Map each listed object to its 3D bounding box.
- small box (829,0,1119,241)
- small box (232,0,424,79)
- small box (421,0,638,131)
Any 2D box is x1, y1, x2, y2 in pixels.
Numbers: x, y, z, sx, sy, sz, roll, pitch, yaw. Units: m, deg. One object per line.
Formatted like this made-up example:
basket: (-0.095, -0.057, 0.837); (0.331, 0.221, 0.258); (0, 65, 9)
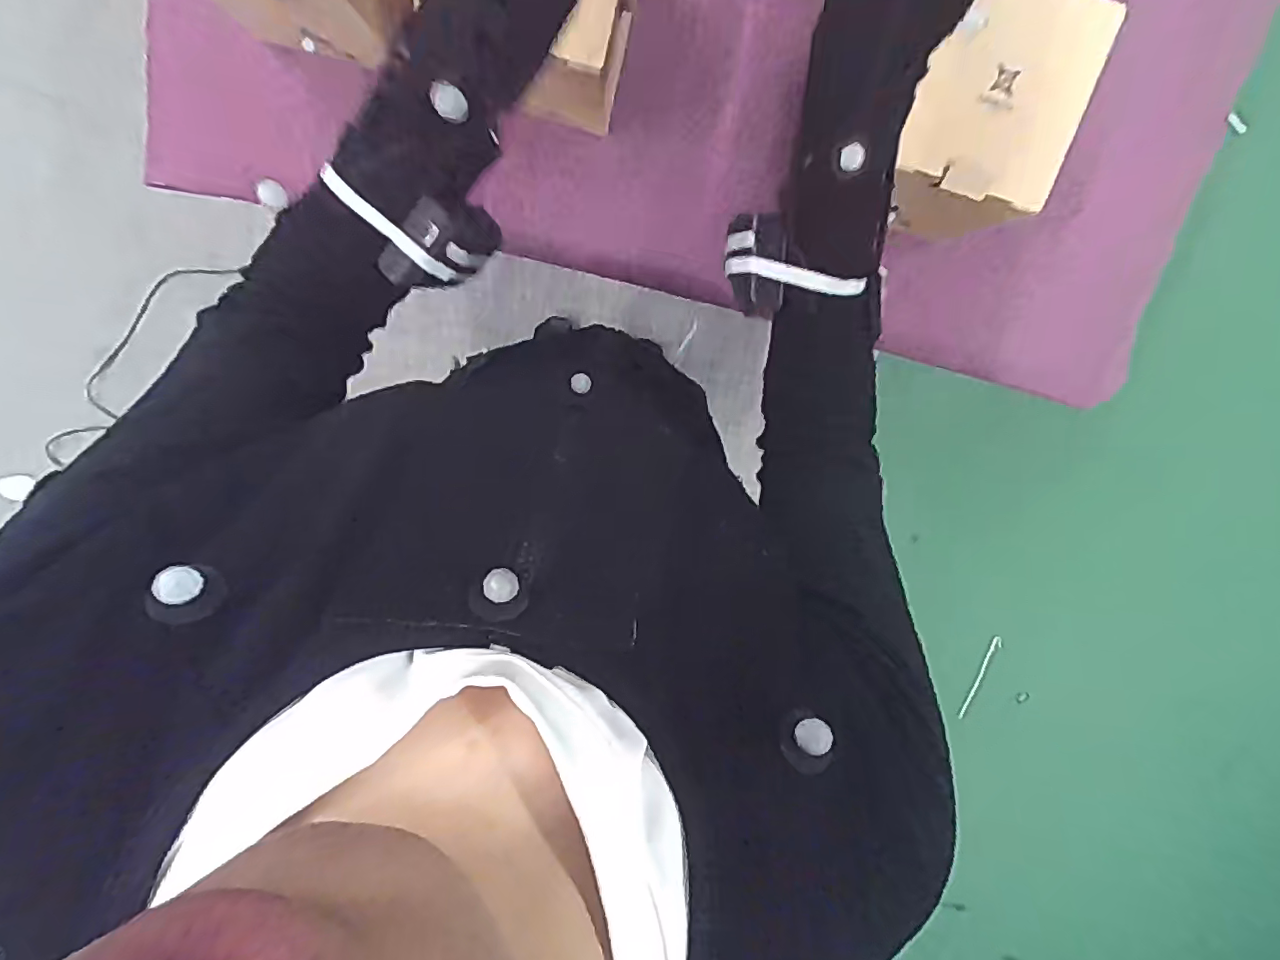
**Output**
small box: (0.324, -0.375, 0.569); (0.168, 0.176, 0.179); (14, 104, -6)
small box: (-0.305, -0.523, 0.499); (0.168, 0.176, 0.179); (12, 105, -5)
small box: (-0.090, -0.475, 0.523); (0.168, 0.176, 0.179); (13, 104, -6)
